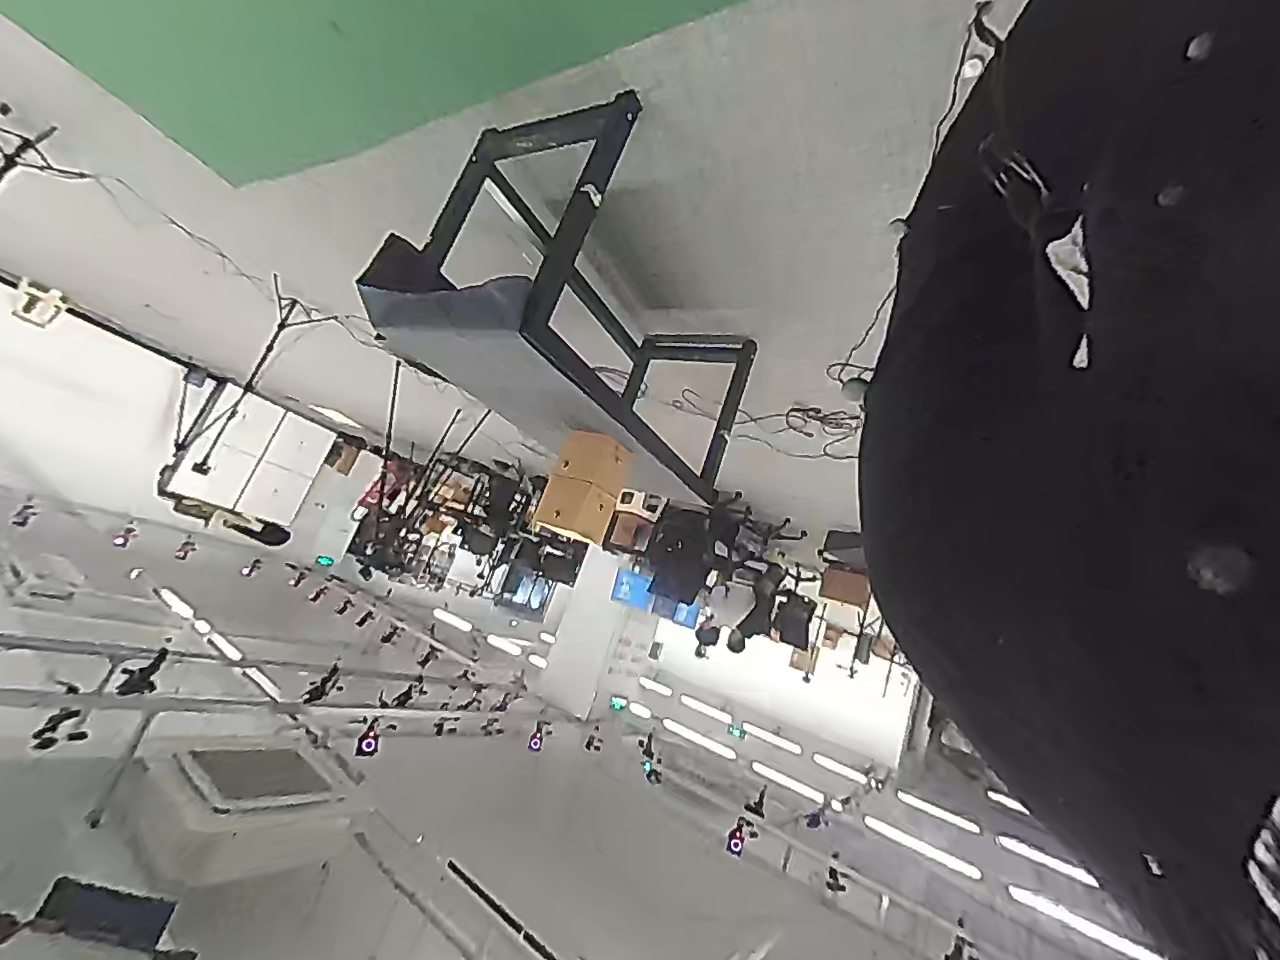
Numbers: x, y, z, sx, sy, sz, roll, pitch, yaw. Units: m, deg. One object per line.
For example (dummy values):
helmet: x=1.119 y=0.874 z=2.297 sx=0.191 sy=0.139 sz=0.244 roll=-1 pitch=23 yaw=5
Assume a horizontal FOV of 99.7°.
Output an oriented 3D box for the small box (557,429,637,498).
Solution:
small box: x=-0.139 y=-0.059 z=1.804 sx=0.179 sy=0.176 sz=0.168 roll=11 pitch=165 yaw=35

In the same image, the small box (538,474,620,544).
small box: x=-0.194 y=0.090 z=1.769 sx=0.179 sy=0.176 sz=0.168 roll=11 pitch=164 yaw=35
